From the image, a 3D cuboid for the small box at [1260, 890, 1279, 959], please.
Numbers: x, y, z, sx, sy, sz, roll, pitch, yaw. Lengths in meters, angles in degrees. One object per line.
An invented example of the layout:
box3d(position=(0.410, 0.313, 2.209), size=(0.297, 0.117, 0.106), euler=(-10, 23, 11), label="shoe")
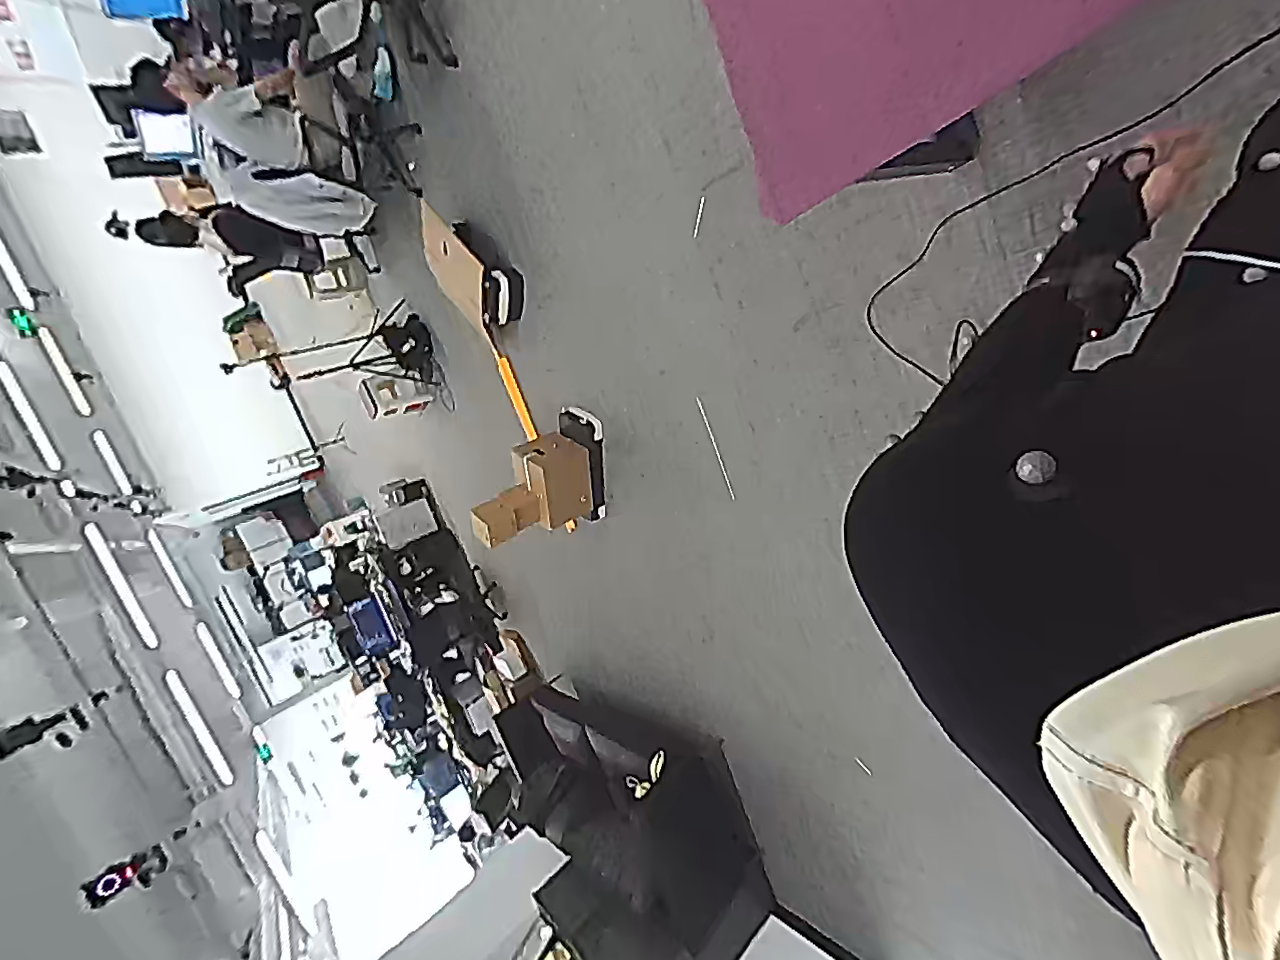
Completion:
box3d(position=(1.245, 0.904, 0.974), size=(0.168, 0.176, 0.179), euler=(4, 115, 52), label="small box")
